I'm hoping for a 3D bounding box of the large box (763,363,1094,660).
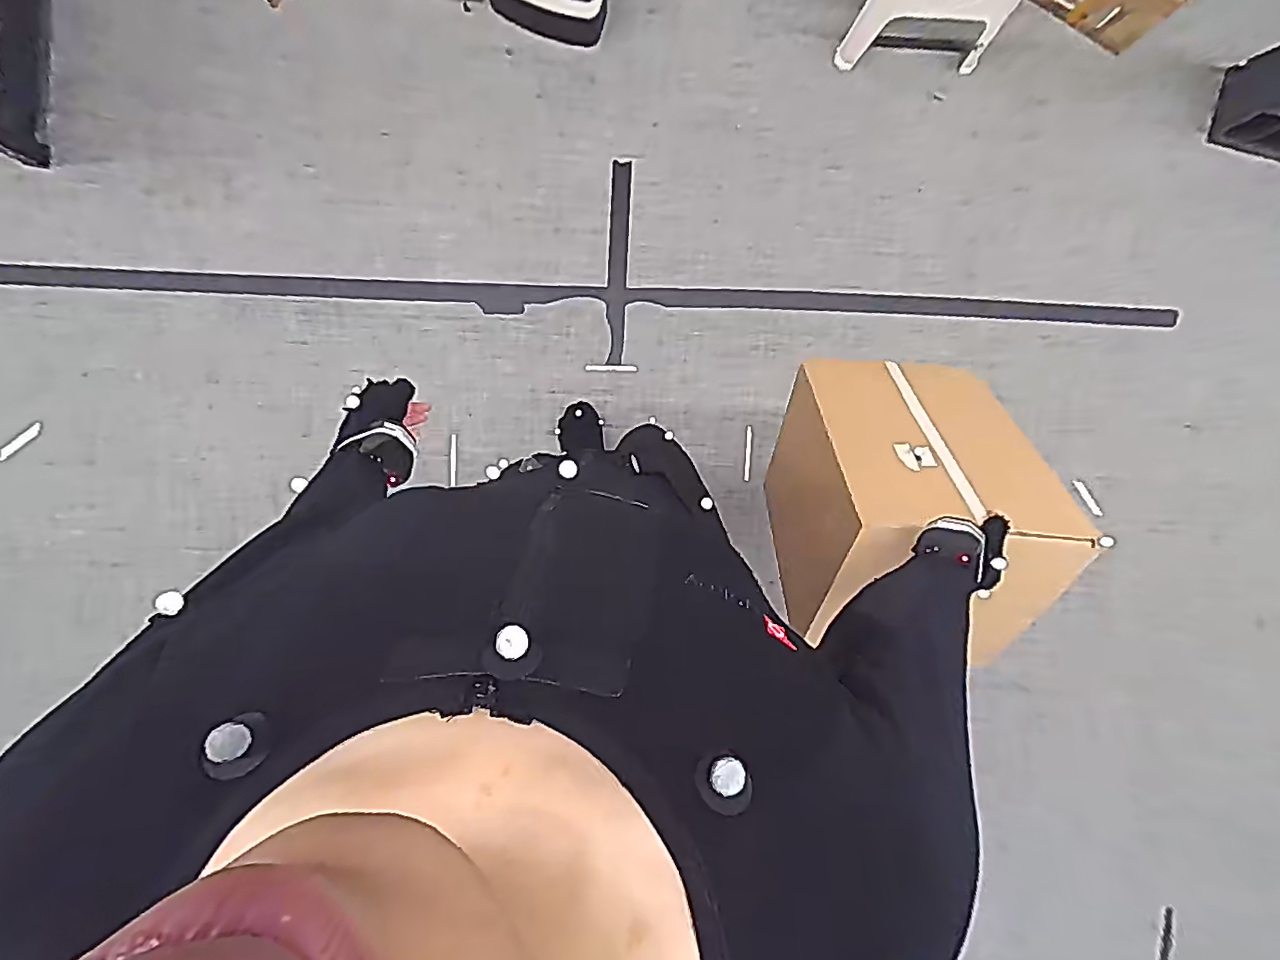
[{"bbox_3d":[0.426,0.046,0.935,0.320,0.408,0.320,4,134,-2],"label":"large box"}]
